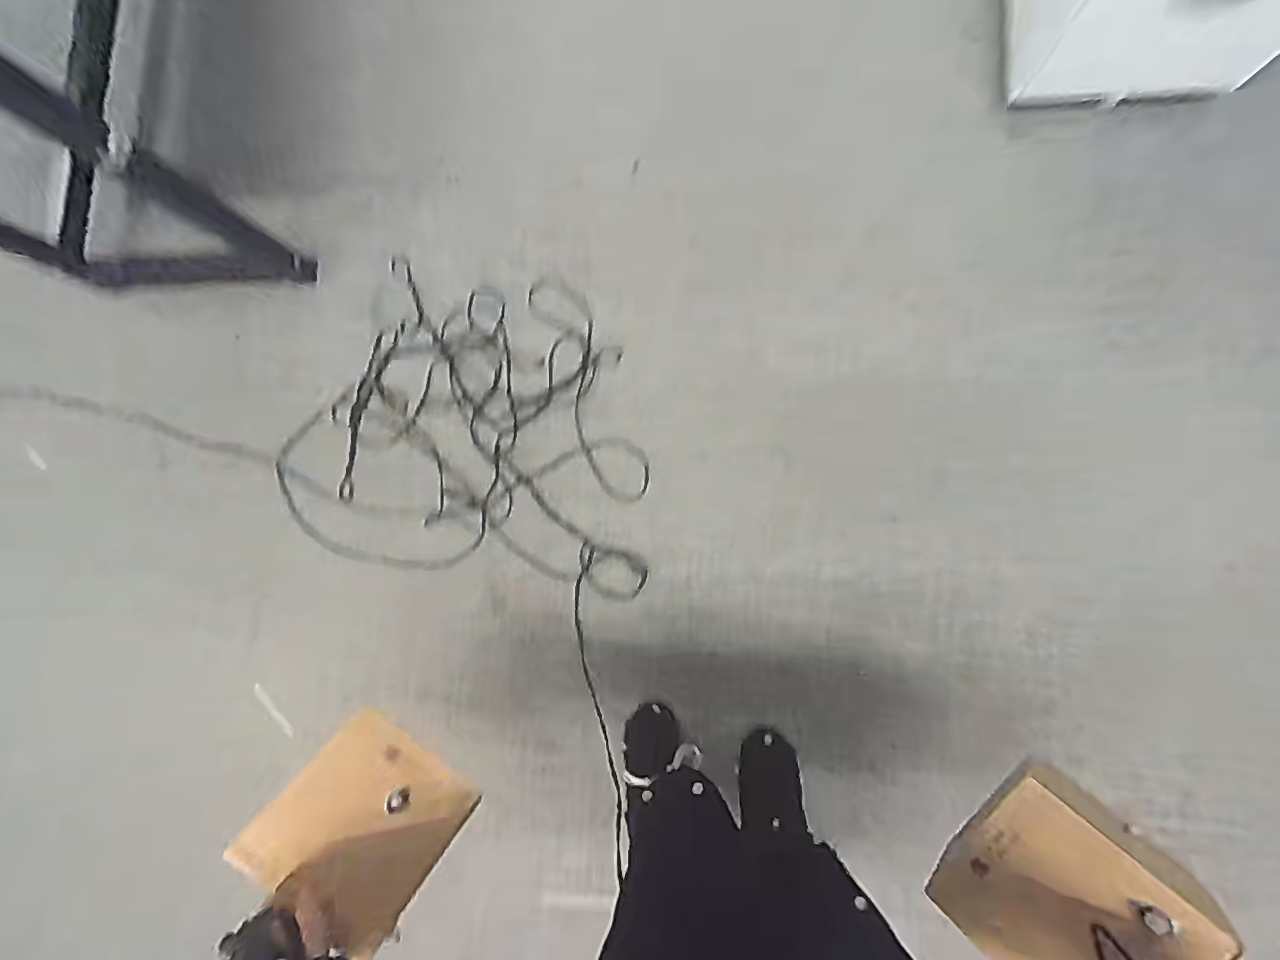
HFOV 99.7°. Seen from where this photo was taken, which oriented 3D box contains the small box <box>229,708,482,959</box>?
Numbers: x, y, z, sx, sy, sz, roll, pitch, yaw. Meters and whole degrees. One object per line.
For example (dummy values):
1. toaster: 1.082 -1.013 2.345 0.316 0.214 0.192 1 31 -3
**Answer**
1. small box: -0.297 0.389 0.592 0.168 0.176 0.179 36 133 6
